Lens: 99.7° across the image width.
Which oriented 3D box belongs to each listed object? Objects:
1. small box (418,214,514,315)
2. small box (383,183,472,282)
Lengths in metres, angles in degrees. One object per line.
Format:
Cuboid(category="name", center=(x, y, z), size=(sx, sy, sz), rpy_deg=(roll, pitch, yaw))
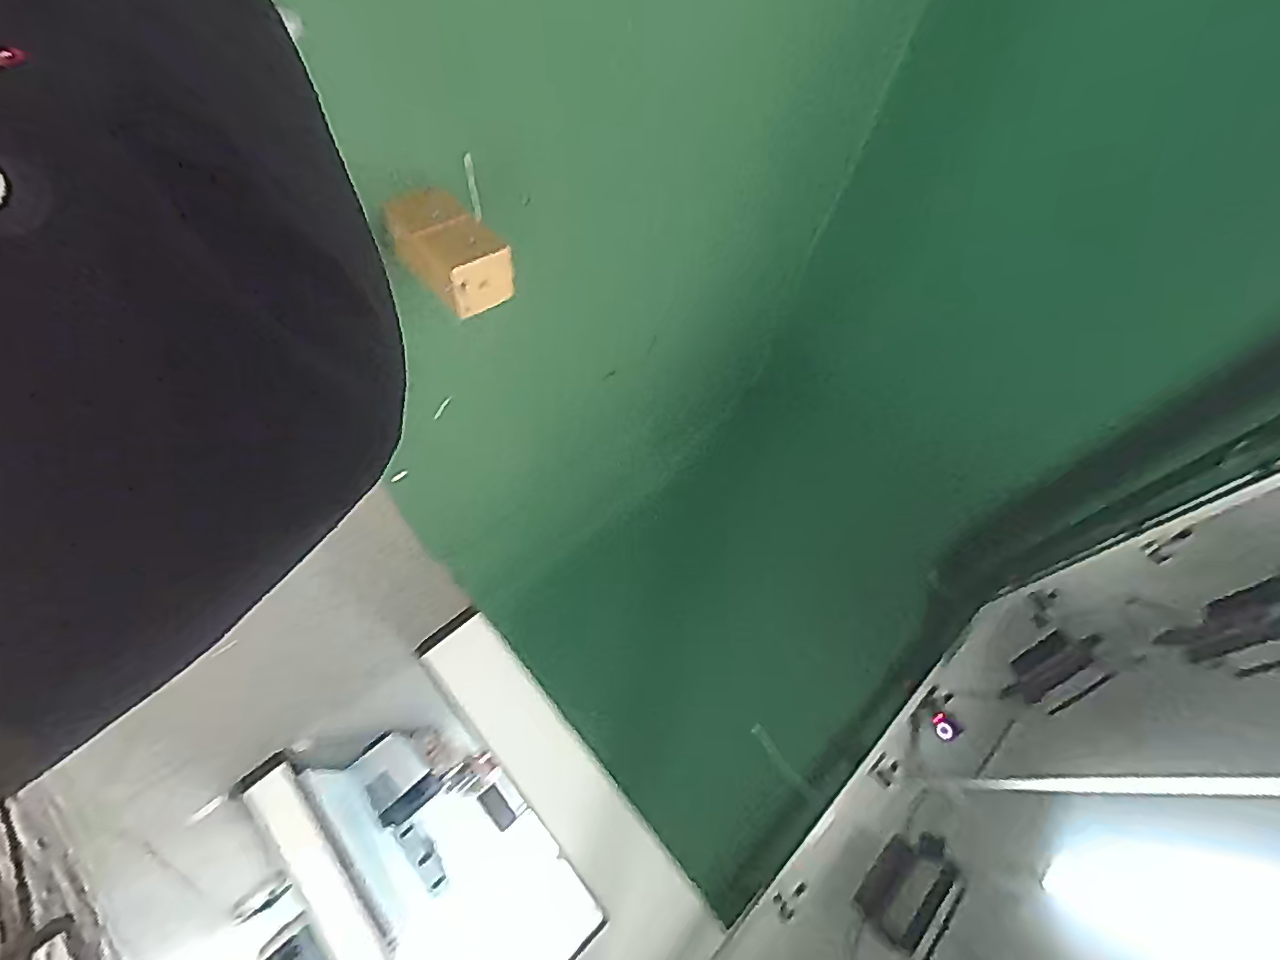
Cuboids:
Cuboid(category="small box", center=(-0.469, -0.593, 1.475), size=(0.179, 0.176, 0.168), rpy_deg=(-37, 160, -26))
Cuboid(category="small box", center=(-0.583, -0.702, 1.522), size=(0.179, 0.176, 0.168), rpy_deg=(-35, 159, -24))
